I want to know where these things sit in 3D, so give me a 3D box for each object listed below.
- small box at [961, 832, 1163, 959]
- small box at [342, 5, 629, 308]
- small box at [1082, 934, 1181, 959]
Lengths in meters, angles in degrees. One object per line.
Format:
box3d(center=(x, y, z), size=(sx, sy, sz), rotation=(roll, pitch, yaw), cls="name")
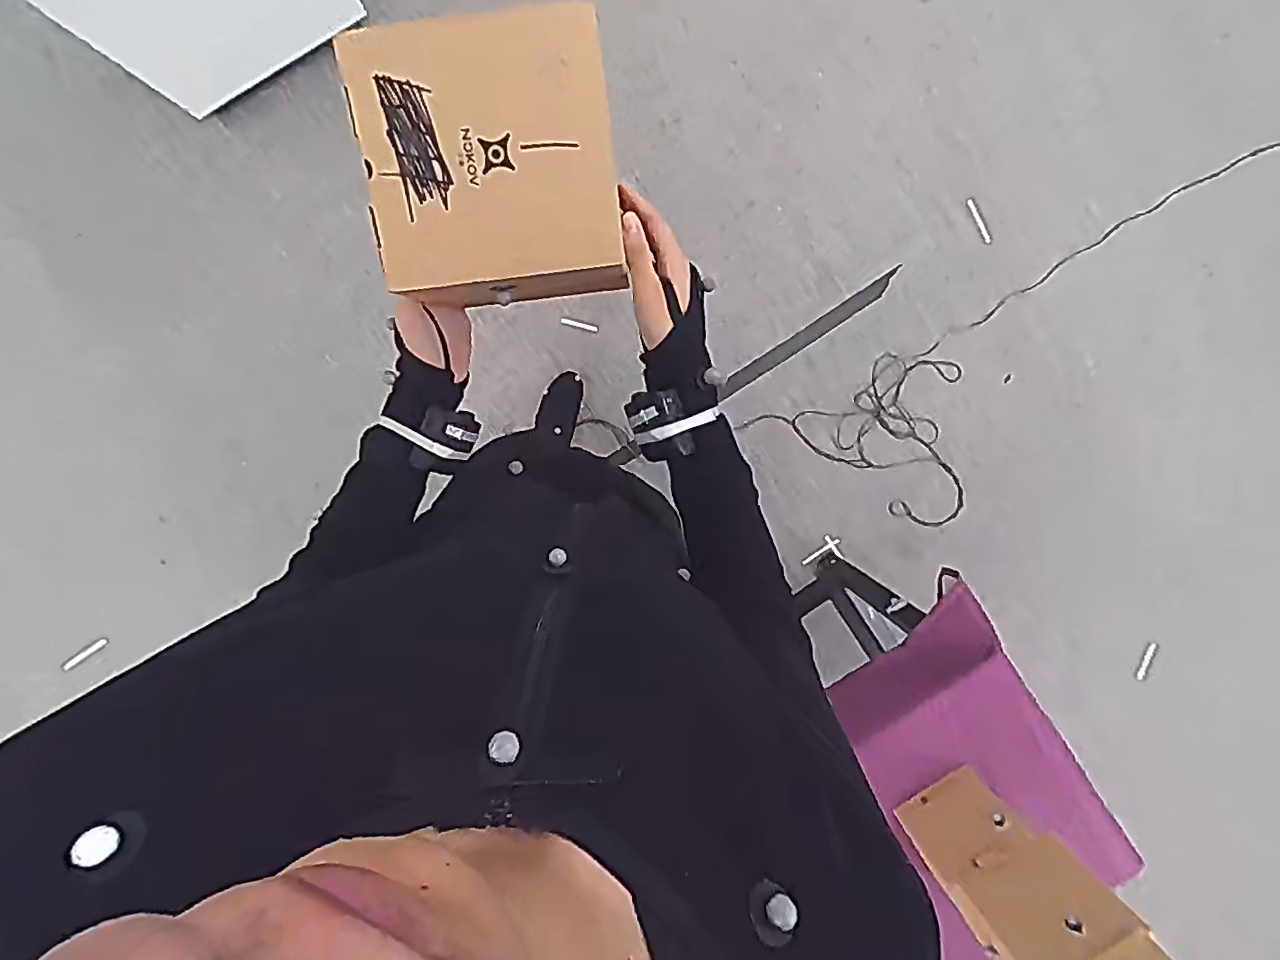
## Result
box3d(center=(0.629, 0.676, 0.804), size=(0.179, 0.176, 0.168), rotation=(-27, 100, 0), cls="small box")
box3d(center=(-0.105, -0.243, 0.454), size=(0.179, 0.176, 0.168), rotation=(-7, 104, 1), cls="small box")
box3d(center=(0.639, 0.698, 0.643), size=(0.168, 0.176, 0.179), rotation=(-34, 101, 1), cls="small box")
